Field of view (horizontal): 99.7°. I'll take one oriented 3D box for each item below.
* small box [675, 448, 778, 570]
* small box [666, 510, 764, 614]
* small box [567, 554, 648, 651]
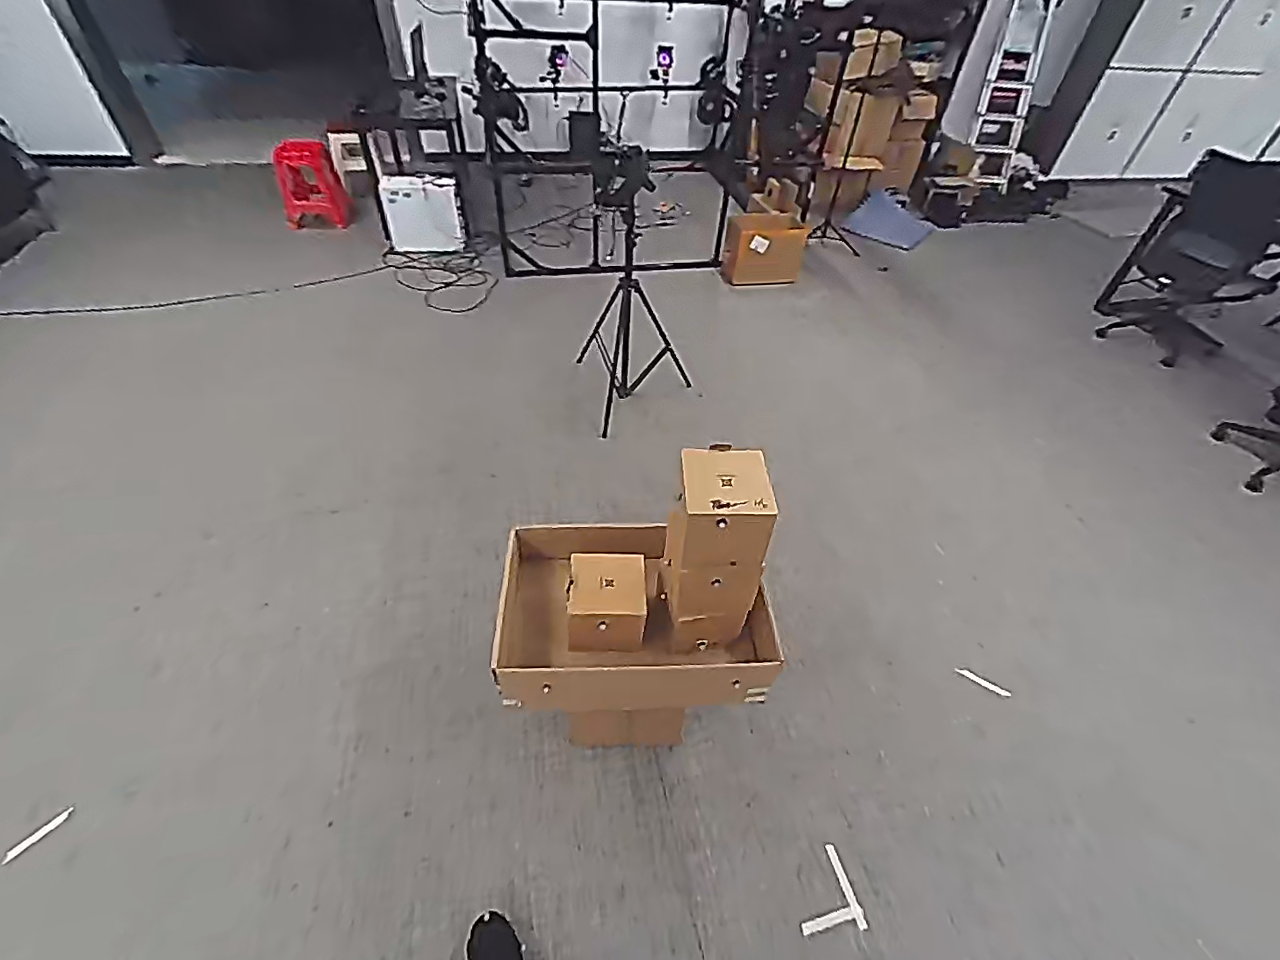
[{"bbox_3d":[0.158,0.056,1.061,0.168,0.176,0.179,0,44,-1],"label":"small box"},{"bbox_3d":[0.152,0.175,1.174,0.179,0.176,0.168,-3,45,-6],"label":"small box"},{"bbox_3d":[-0.078,0.291,1.277,0.179,0.176,0.168,1,45,-4],"label":"small box"}]
